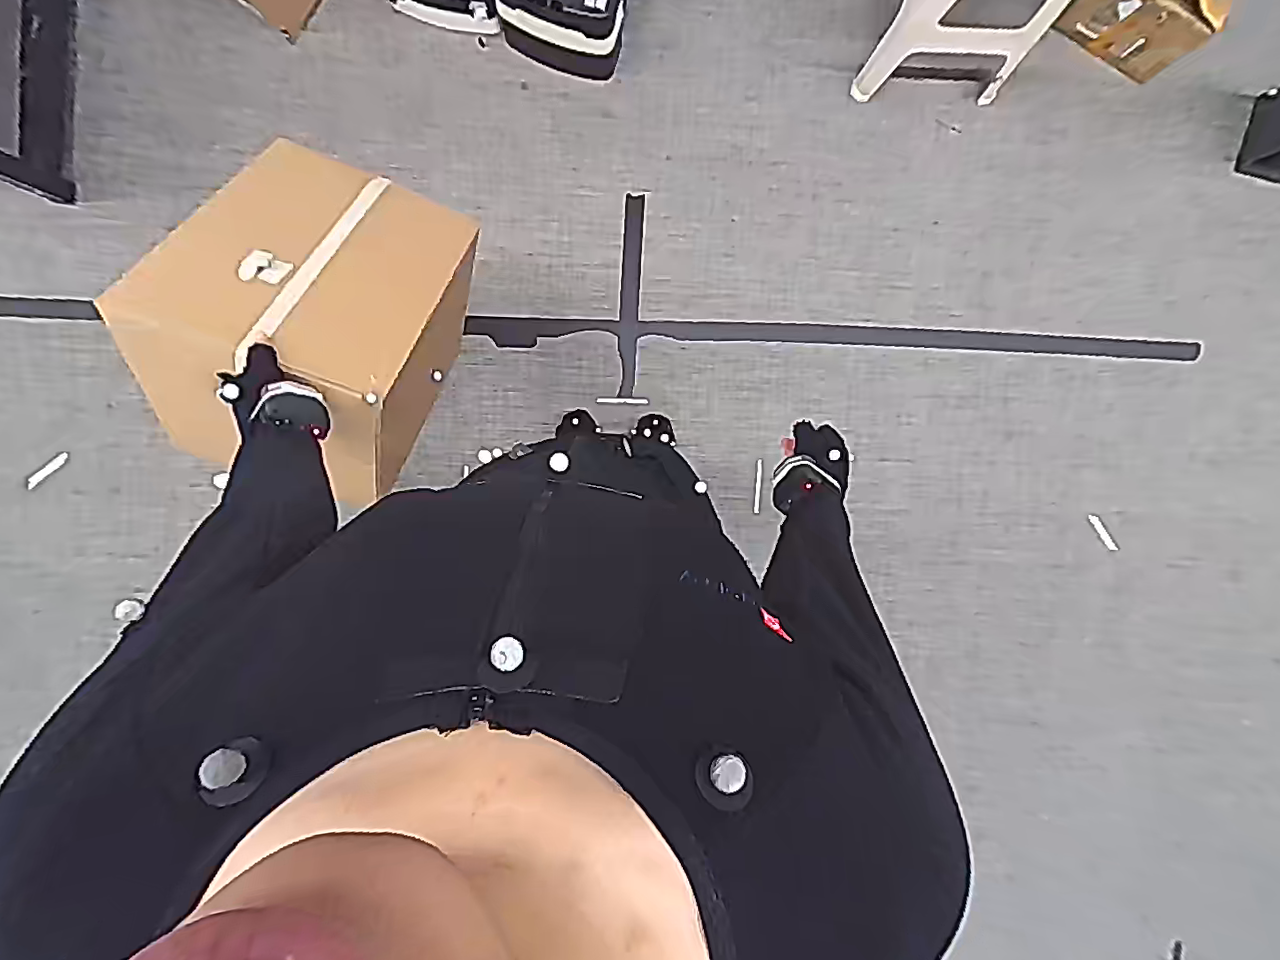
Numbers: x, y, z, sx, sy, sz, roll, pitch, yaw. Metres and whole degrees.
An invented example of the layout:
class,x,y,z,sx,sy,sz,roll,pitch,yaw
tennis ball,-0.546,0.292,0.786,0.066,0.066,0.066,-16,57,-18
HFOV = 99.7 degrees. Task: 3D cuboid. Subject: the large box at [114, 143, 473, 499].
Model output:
class,x,y,z,sx,sy,sz,roll,pitch,yaw
large box,-0.499,-0.242,0.885,0.320,0.320,0.408,19,56,-13
